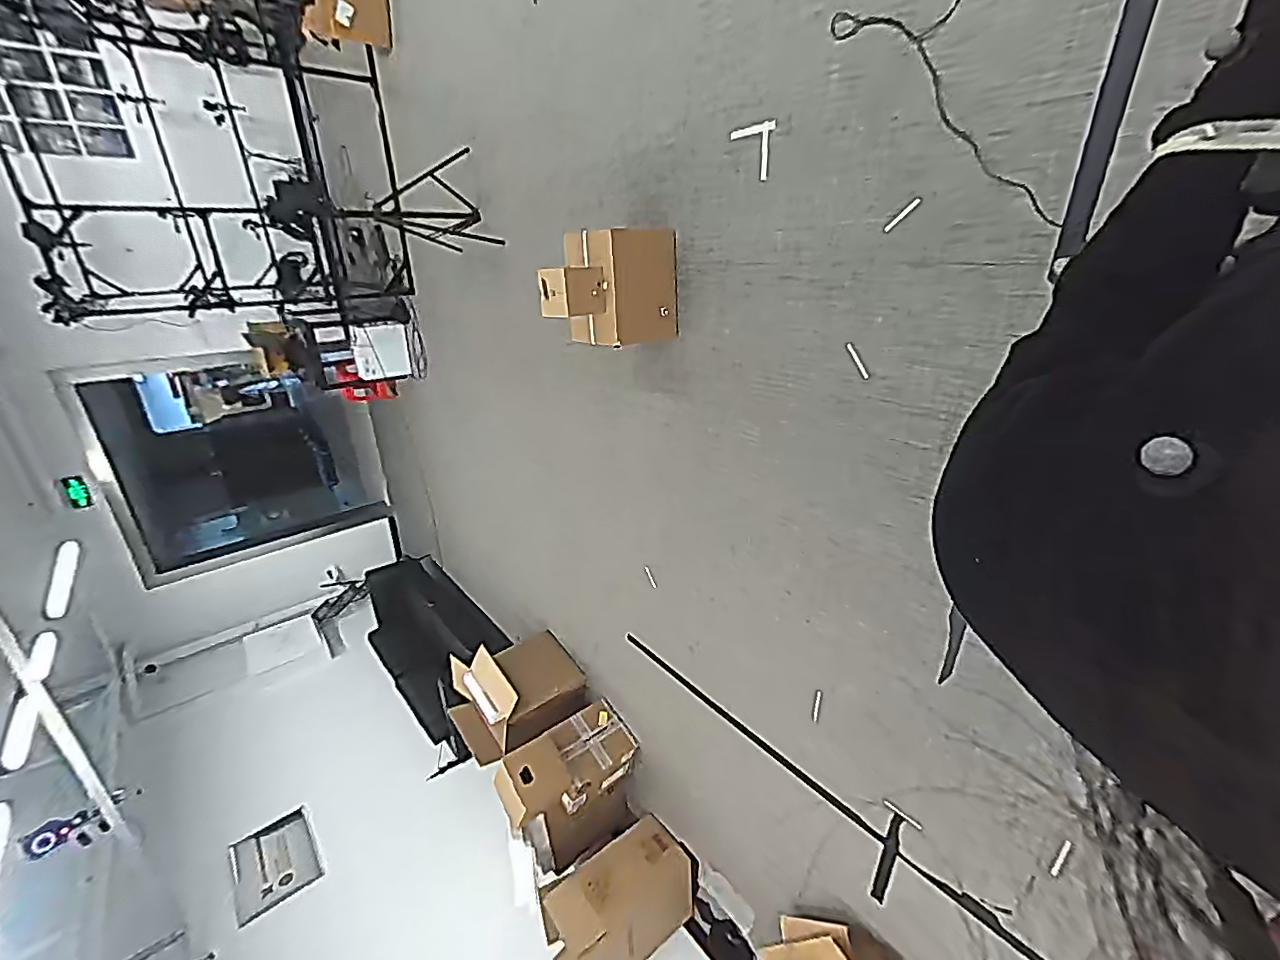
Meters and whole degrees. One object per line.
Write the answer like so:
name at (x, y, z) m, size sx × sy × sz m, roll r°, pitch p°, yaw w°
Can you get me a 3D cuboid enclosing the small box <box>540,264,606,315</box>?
small box at (-0.242, -0.699, 1.978) m, size 0.179 × 0.176 × 0.168 m, roll 21°, pitch 122°, yaw 46°
